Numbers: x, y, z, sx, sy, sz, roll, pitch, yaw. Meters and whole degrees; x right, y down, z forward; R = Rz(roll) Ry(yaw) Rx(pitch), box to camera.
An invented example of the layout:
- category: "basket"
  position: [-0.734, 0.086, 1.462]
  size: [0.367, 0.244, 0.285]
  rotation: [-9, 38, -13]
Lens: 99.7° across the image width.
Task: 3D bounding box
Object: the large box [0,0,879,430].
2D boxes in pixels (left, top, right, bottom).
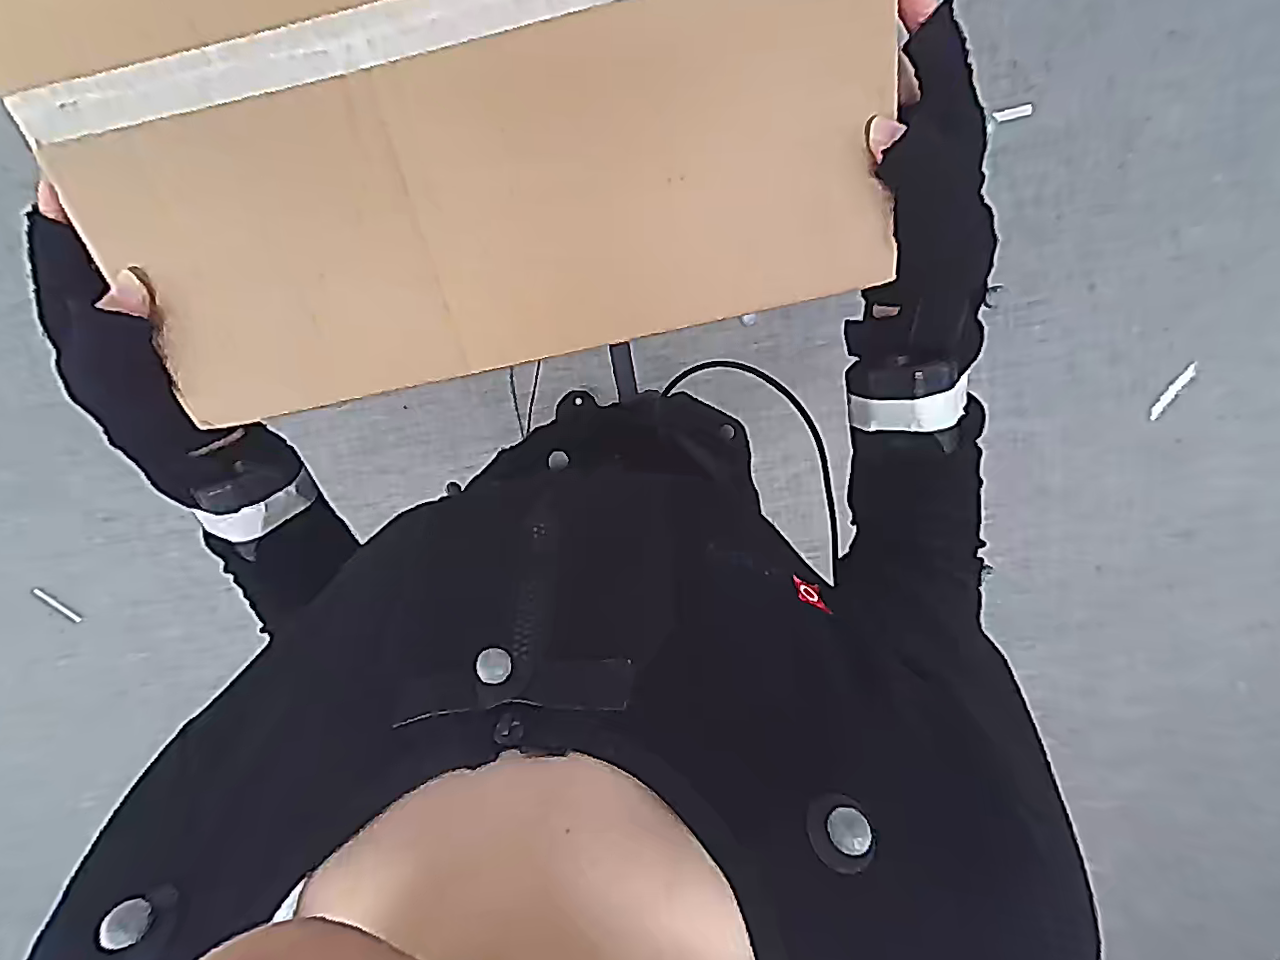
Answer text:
- category: "large box"
  position: [-0.094, -0.269, 0.388]
  size: [0.408, 0.320, 0.320]
  rotation: [-11, 114, 3]
